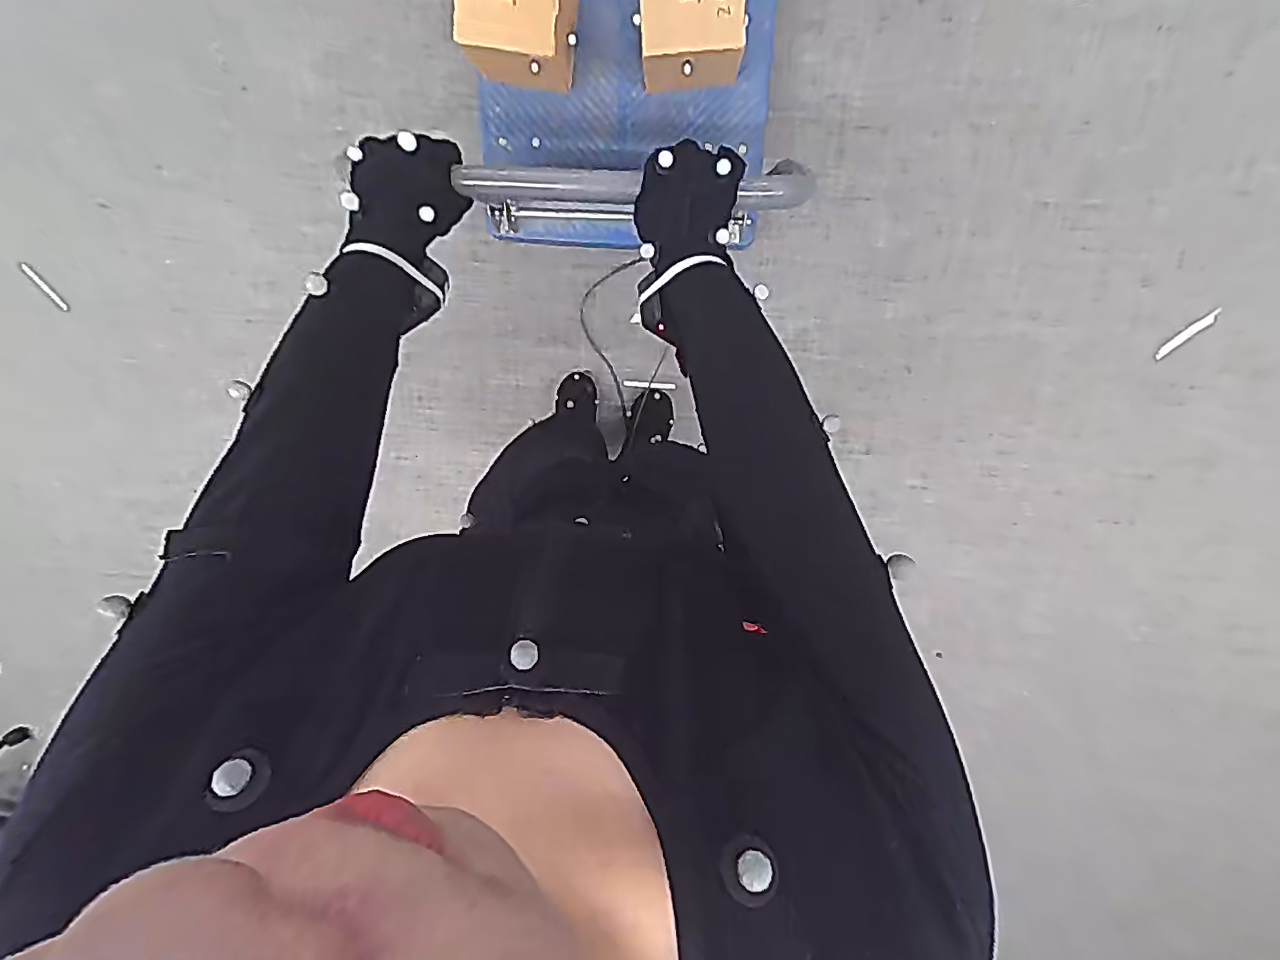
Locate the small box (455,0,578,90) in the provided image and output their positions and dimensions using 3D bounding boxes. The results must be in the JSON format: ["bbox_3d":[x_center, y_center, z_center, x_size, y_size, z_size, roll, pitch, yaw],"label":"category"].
[{"bbox_3d":[-0.217,-0.837,0.976,0.179,0.176,0.168,8,108,-1],"label":"small box"}]

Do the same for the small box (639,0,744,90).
[{"bbox_3d":[0.089,-0.823,0.964,0.179,0.176,0.168,-2,108,4],"label":"small box"}]
